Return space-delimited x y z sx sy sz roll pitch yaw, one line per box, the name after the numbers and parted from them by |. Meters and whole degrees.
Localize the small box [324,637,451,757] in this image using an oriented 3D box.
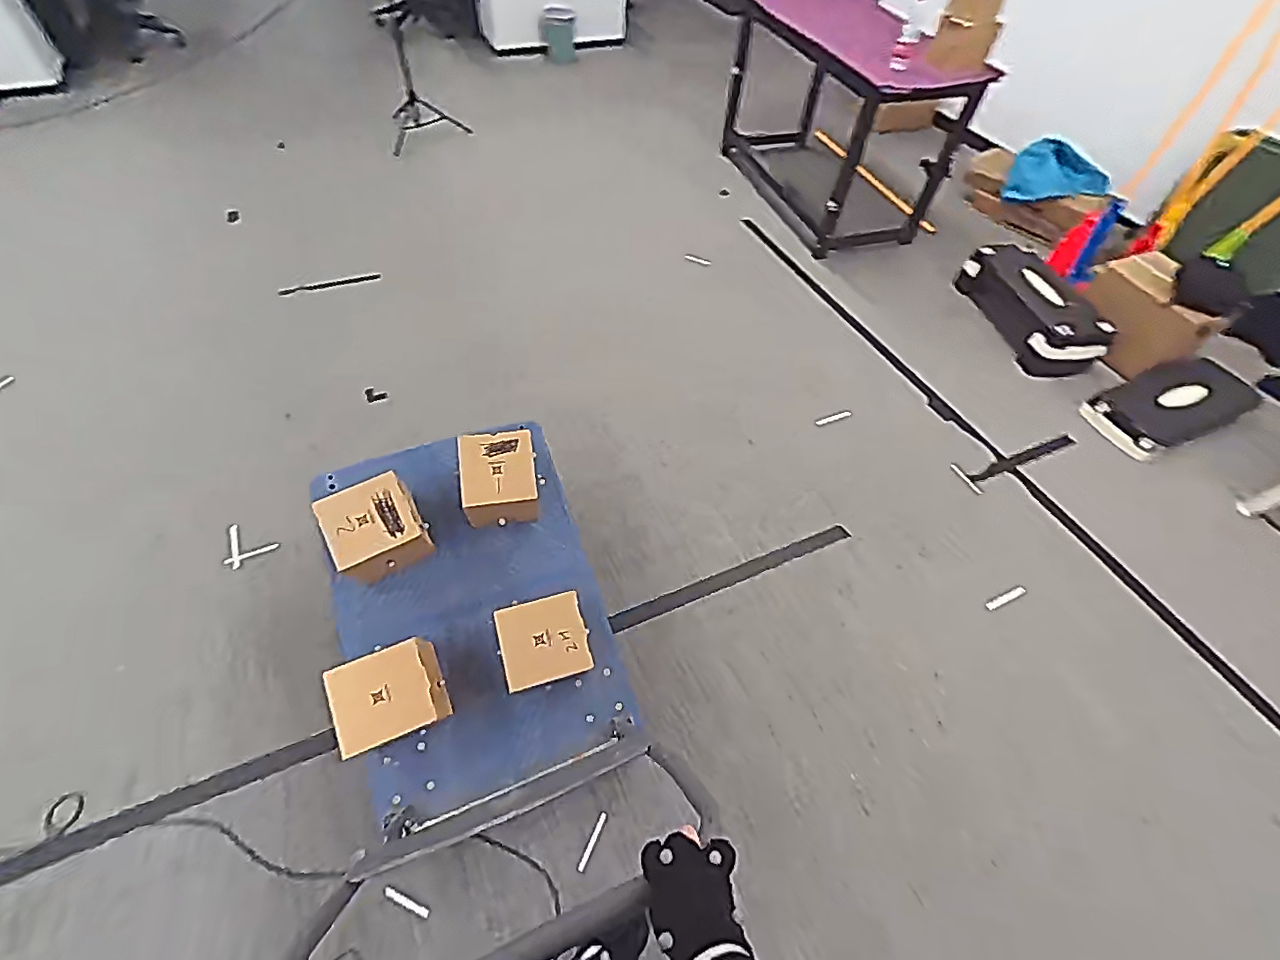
-0.503 0.437 1.096 0.179 0.176 0.168 -19 73 -18 | small box

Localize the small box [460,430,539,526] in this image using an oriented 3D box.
-0.333 -0.003 1.294 0.168 0.176 0.179 -6 71 -12 | small box

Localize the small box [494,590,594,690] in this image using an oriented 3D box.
-0.207 0.353 1.178 0.179 0.176 0.168 -12 72 -14 | small box
